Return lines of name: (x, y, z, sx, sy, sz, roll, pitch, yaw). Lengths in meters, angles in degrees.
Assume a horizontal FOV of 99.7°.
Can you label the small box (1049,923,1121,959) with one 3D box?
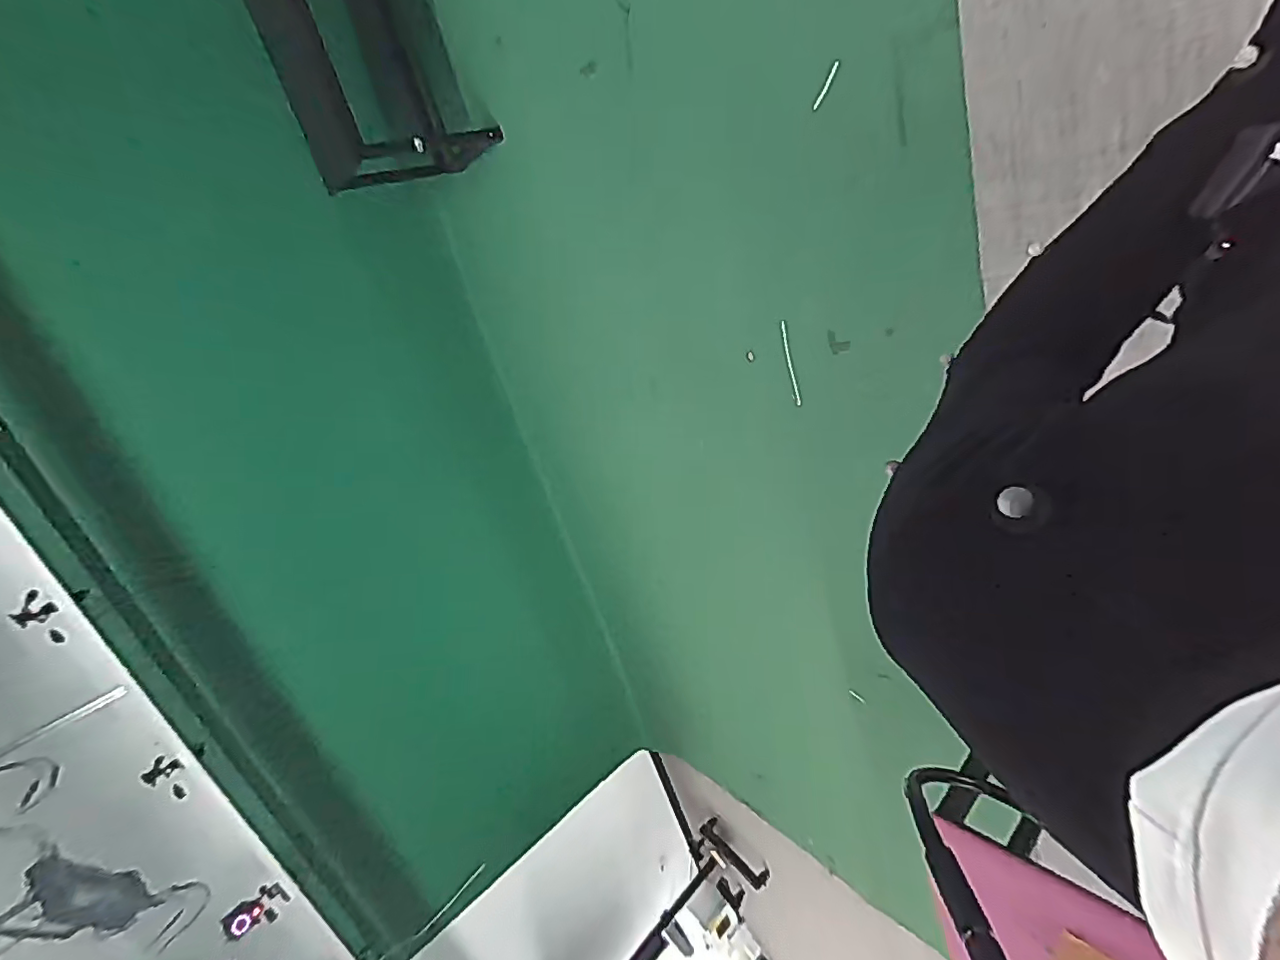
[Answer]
small box: (0.967, 1.108, 1.144, 0.179, 0.176, 0.168, 19, 132, 47)
